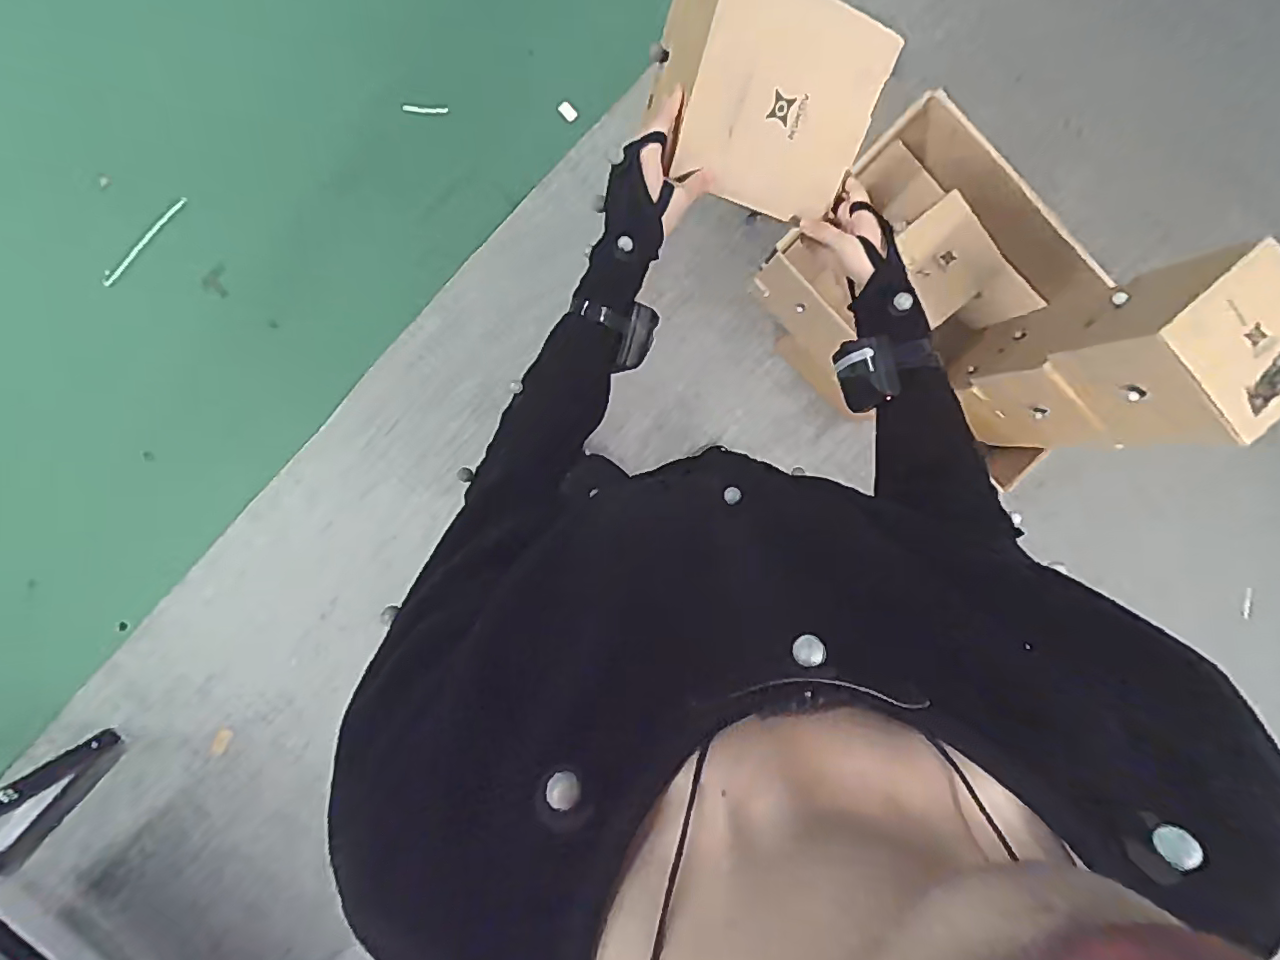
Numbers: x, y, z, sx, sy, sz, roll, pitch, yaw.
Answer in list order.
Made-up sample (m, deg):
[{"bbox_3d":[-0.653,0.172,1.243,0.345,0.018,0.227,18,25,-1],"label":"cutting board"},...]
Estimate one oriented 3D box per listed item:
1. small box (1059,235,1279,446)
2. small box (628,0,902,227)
[{"bbox_3d":[0.696,-0.162,0.678,0.168,0.176,0.179,-42,93,3],"label":"small box"},{"bbox_3d":[0.105,-0.375,0.536,0.179,0.176,0.168,8,120,-20],"label":"small box"}]
